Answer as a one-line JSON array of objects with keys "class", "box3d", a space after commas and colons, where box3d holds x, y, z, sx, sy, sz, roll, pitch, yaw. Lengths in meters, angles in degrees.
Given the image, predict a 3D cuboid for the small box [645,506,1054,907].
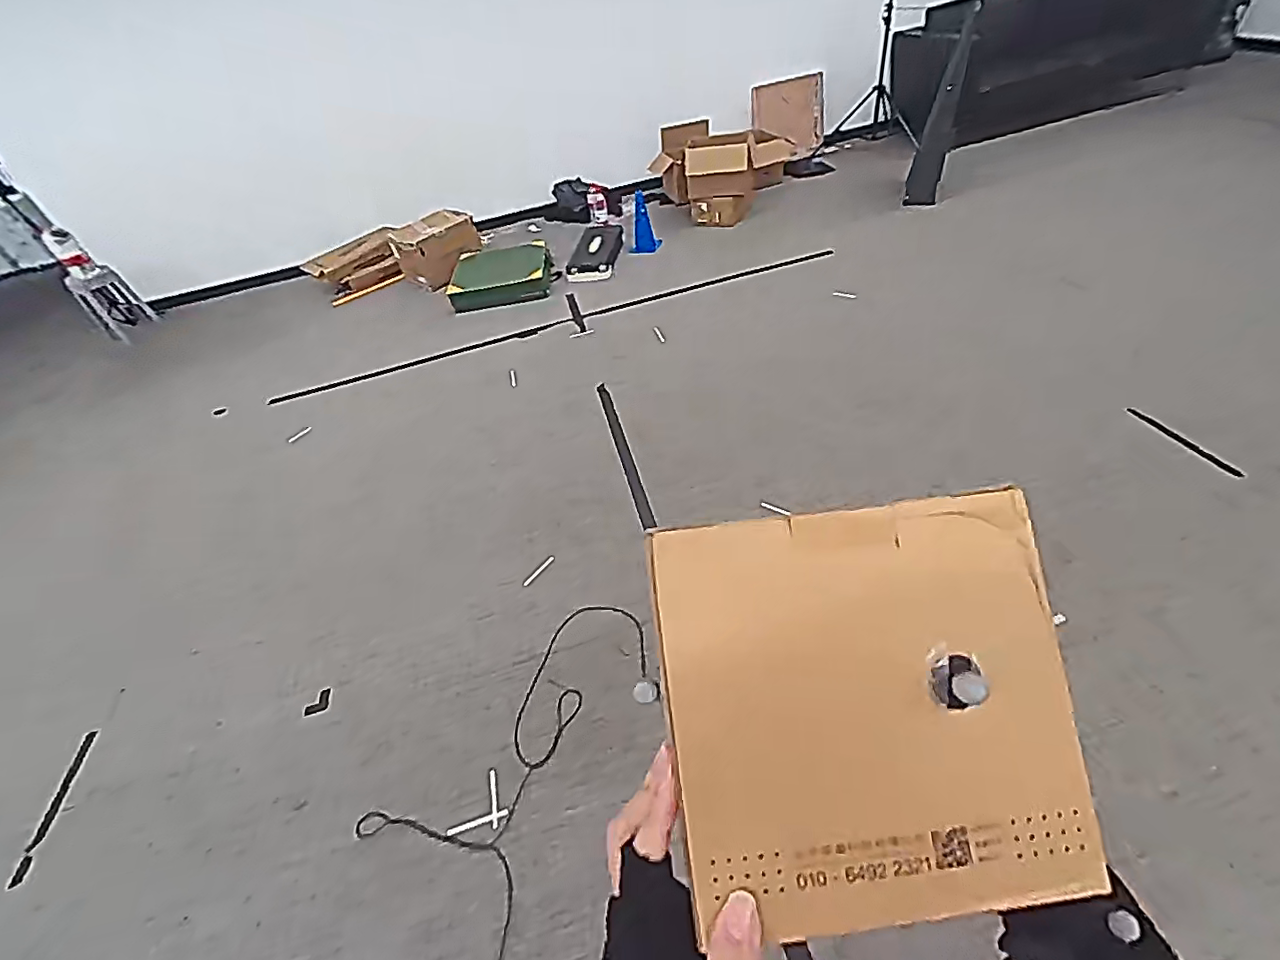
[{"class": "small box", "box3d": [0.096, 0.115, 0.322, 0.168, 0.179, 0.176, -7, 83, -1]}]
